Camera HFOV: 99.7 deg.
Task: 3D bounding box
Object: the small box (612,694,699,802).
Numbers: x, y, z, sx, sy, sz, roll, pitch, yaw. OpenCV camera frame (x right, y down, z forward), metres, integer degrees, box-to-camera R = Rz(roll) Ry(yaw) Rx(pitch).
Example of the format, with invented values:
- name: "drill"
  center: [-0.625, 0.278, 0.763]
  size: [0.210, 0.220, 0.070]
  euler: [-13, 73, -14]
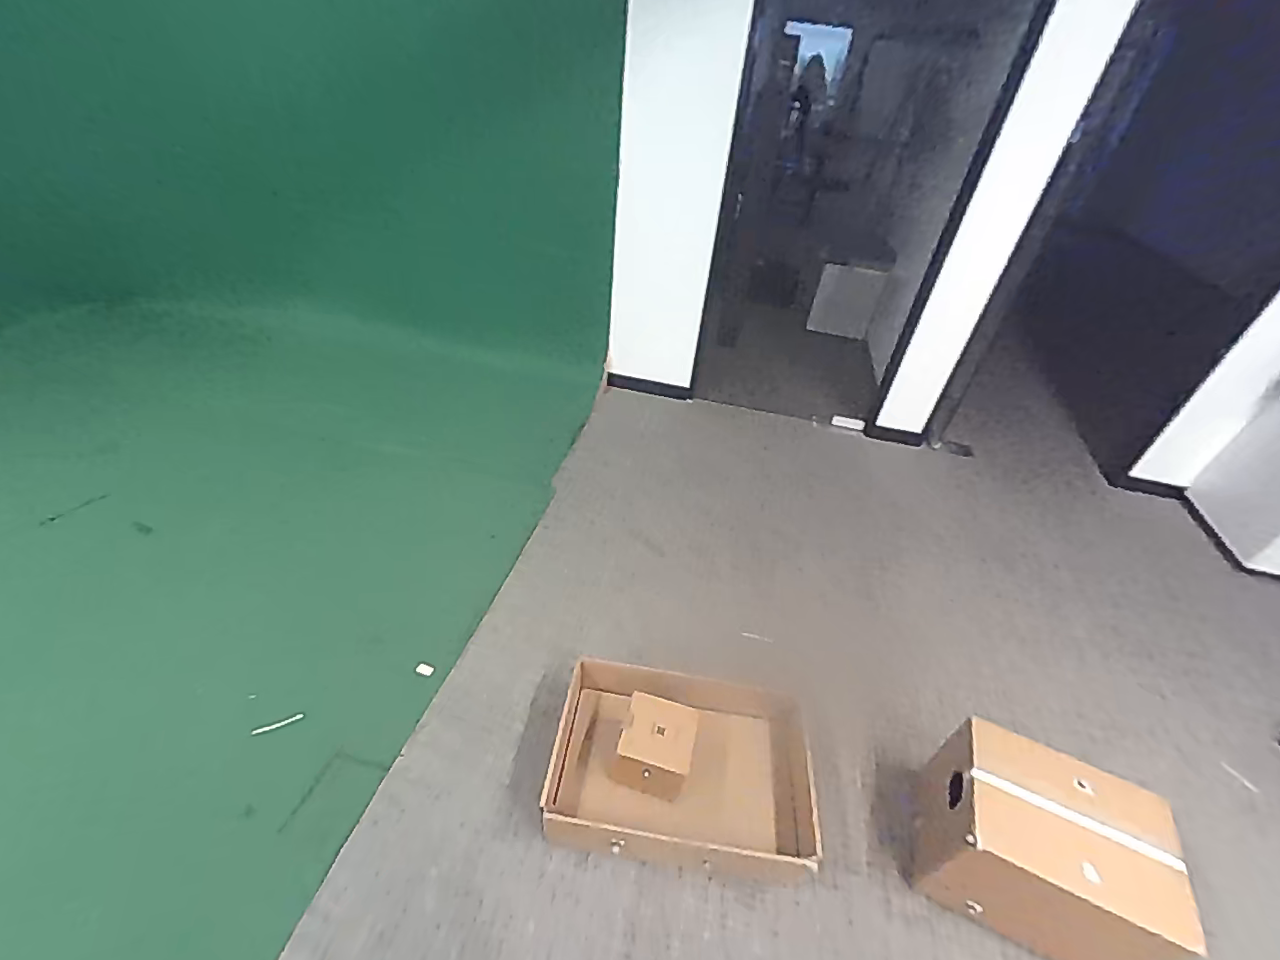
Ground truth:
- name: "small box"
  center: [0.037, 0.677, 1.361]
  size: [0.179, 0.176, 0.168]
  euler: [15, 40, 6]
